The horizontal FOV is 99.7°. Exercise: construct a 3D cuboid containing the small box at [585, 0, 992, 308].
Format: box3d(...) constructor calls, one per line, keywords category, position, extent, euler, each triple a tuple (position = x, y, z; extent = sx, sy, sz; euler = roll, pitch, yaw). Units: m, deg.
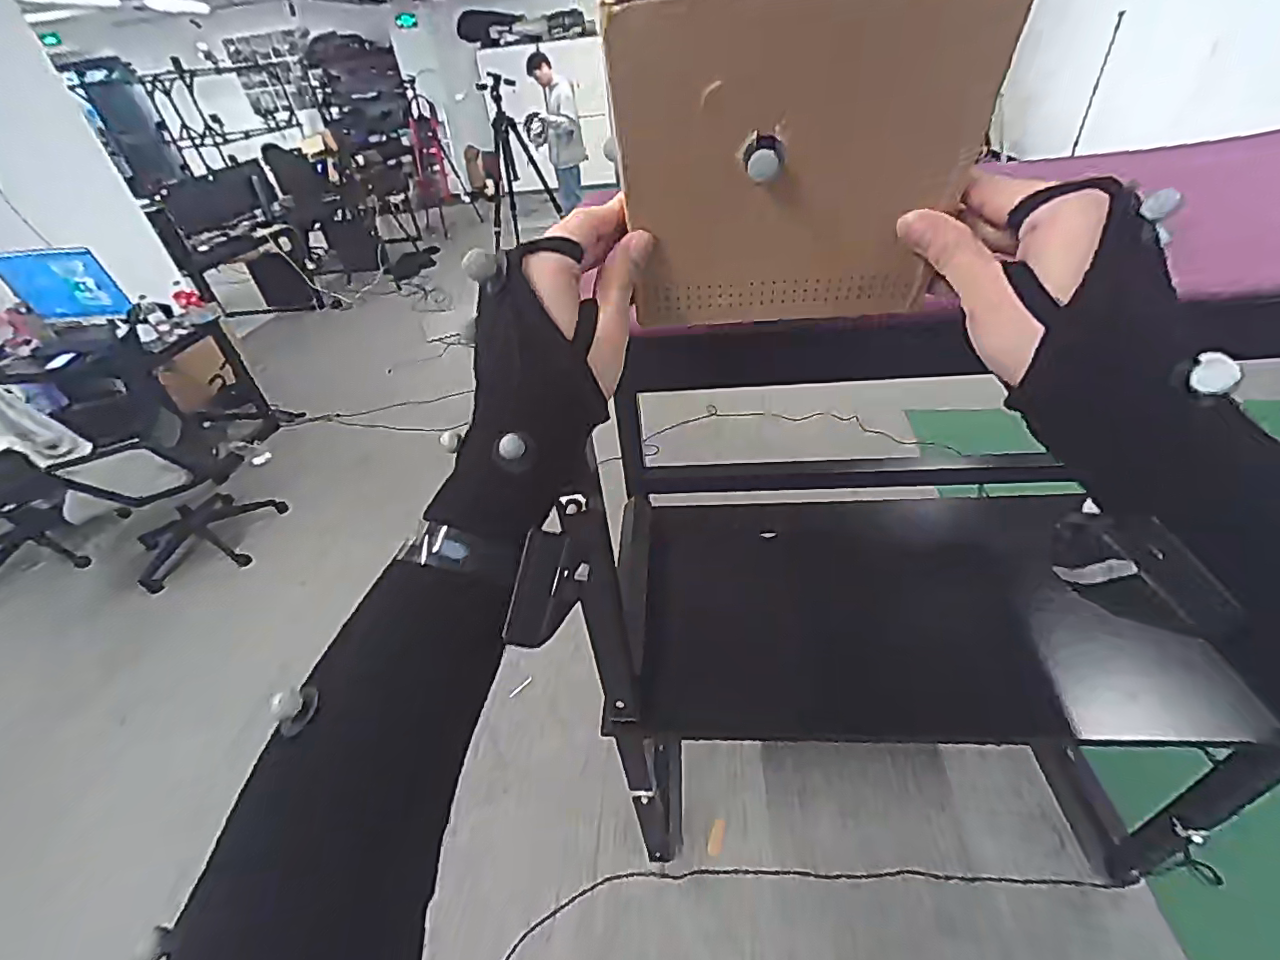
box3d(category="small box", position=(0.077, -0.221, 0.322), extent=(0.179, 0.176, 0.168), euler=(-3, 54, 7))
